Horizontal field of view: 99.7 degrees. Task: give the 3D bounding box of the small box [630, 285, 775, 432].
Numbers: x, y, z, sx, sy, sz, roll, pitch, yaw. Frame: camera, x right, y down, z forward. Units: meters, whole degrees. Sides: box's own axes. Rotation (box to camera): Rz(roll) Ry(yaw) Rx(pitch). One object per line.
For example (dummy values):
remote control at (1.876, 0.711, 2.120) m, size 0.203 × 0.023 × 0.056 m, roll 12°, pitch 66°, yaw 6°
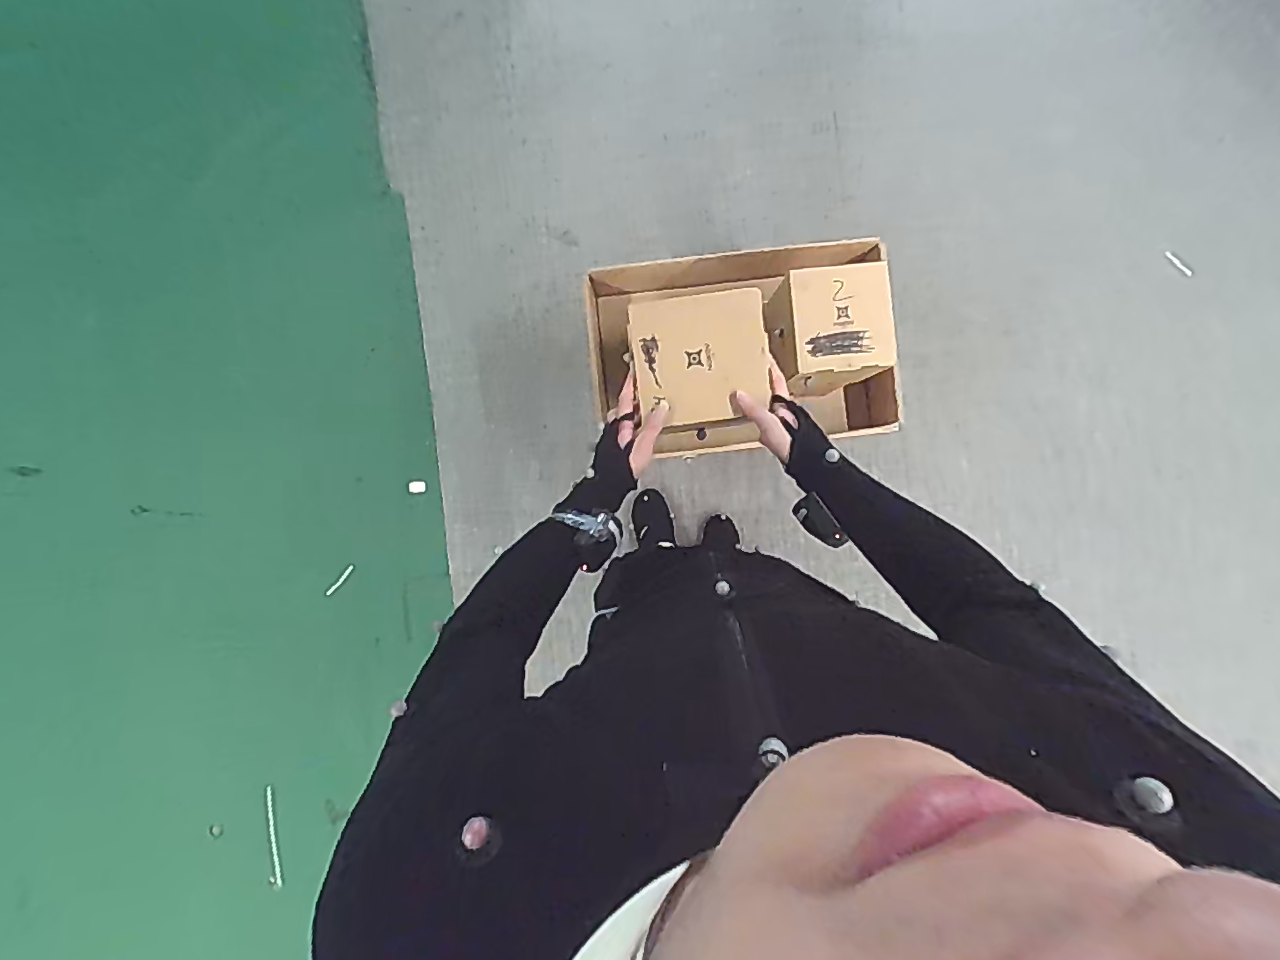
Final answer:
small box at (0.082, -0.162, 0.772) m, size 0.179 × 0.176 × 0.168 m, roll -6°, pitch 90°, yaw 2°
